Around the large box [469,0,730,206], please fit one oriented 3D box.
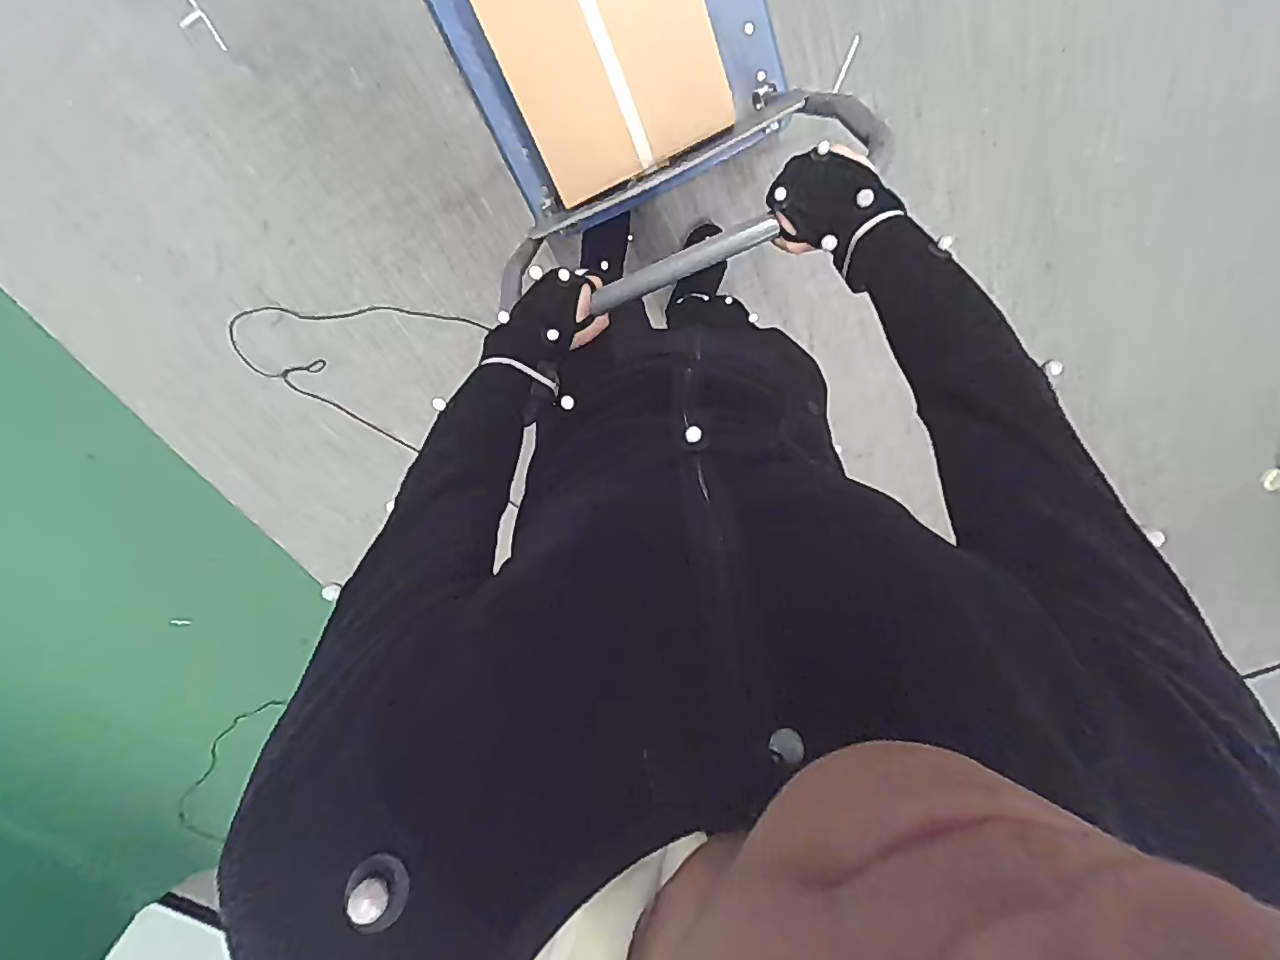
[{"bbox_3d":[-0.063,-0.761,0.943,0.320,0.320,0.408,-19,120,14],"label":"large box"}]
